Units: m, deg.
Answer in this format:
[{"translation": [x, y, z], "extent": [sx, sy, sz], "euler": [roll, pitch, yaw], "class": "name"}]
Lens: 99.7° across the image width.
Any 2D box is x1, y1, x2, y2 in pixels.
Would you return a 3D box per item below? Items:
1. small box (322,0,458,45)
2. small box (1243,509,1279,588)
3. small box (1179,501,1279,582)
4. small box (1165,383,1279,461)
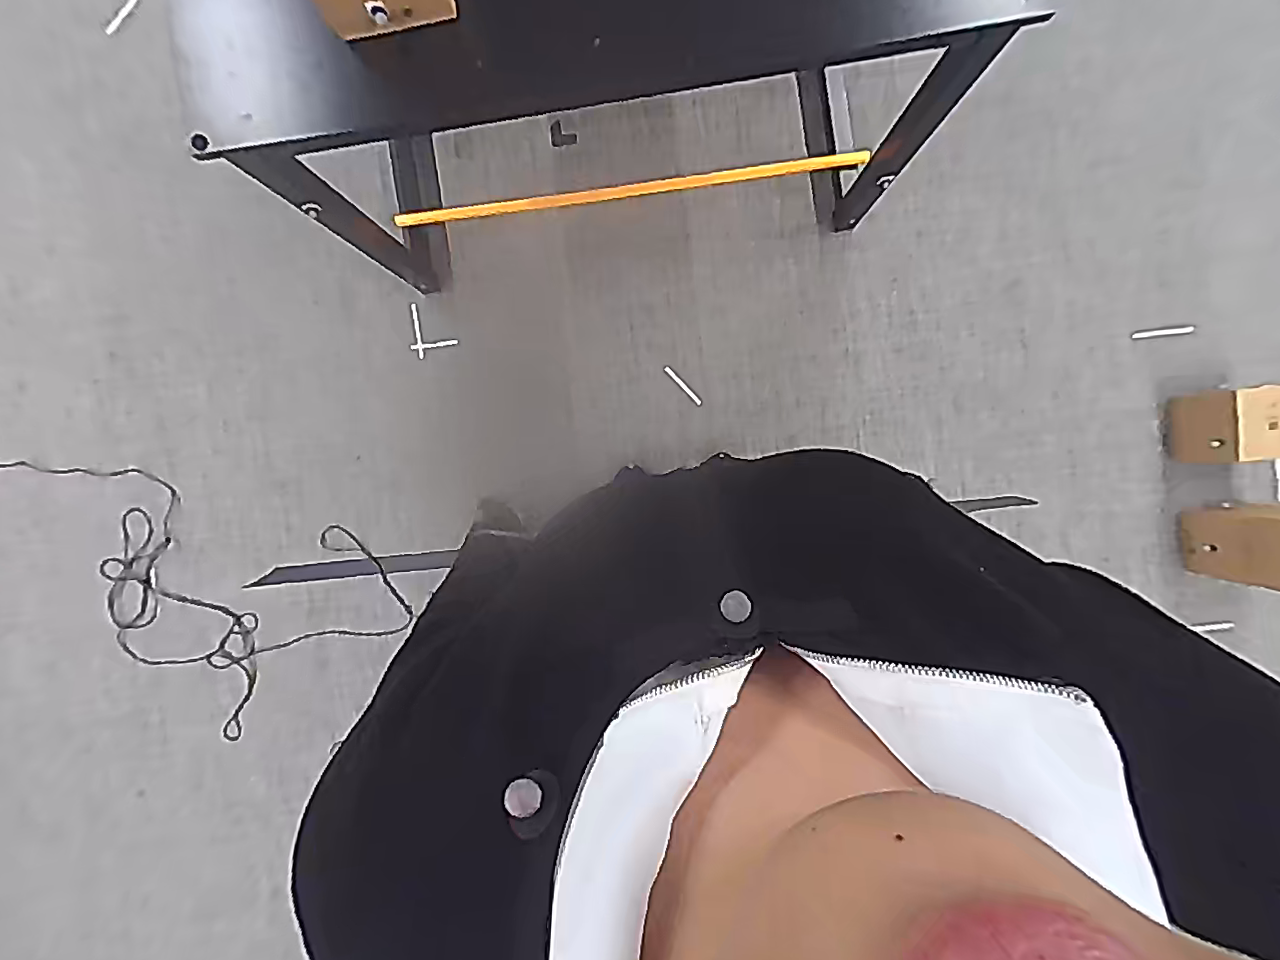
[{"translation": [-0.351, -0.711, 0.682], "extent": [0.168, 0.176, 0.179], "euler": [-11, 93, 4], "class": "small box"}, {"translation": [1.520, 0.153, 1.209], "extent": [0.168, 0.176, 0.179], "euler": [-9, 93, 3], "class": "small box"}, {"translation": [1.531, 0.151, 1.375], "extent": [0.179, 0.176, 0.168], "euler": [-10, 92, 4], "class": "small box"}, {"translation": [1.481, -0.143, 1.360], "extent": [0.168, 0.176, 0.179], "euler": [-5, 92, 2], "class": "small box"}]
